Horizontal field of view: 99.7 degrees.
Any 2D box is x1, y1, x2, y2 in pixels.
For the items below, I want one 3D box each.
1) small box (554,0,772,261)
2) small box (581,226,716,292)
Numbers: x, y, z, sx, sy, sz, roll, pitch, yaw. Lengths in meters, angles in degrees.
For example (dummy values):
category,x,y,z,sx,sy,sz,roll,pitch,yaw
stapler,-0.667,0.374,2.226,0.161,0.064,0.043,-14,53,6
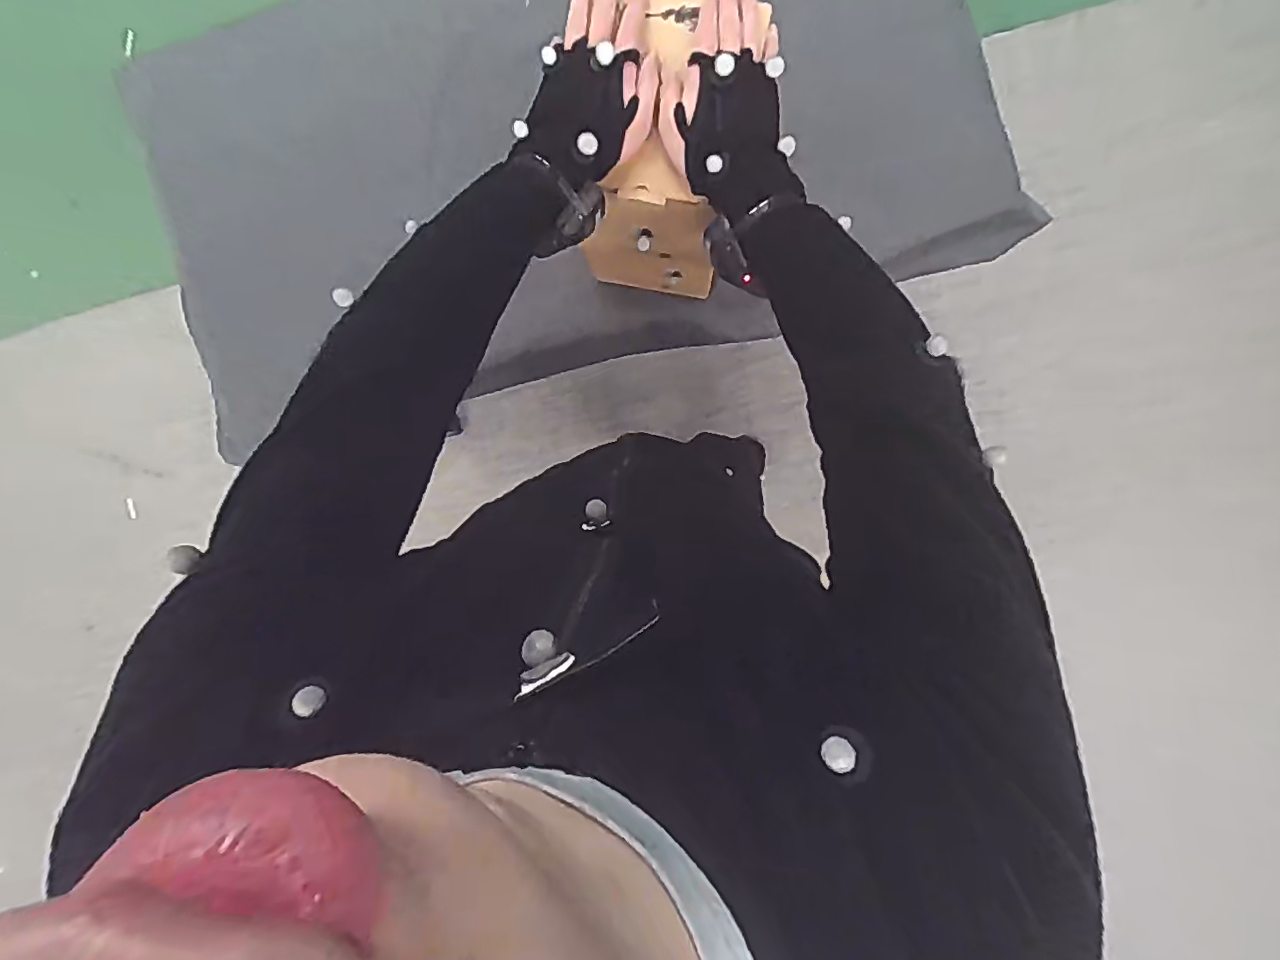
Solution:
category,x,y,z,sx,sy,sz,roll,pitch,yaw
small box,0.022,-0.342,0.548,0.168,0.176,0.179,11,96,2
small box,0.030,-0.363,0.710,0.168,0.176,0.179,10,93,2
